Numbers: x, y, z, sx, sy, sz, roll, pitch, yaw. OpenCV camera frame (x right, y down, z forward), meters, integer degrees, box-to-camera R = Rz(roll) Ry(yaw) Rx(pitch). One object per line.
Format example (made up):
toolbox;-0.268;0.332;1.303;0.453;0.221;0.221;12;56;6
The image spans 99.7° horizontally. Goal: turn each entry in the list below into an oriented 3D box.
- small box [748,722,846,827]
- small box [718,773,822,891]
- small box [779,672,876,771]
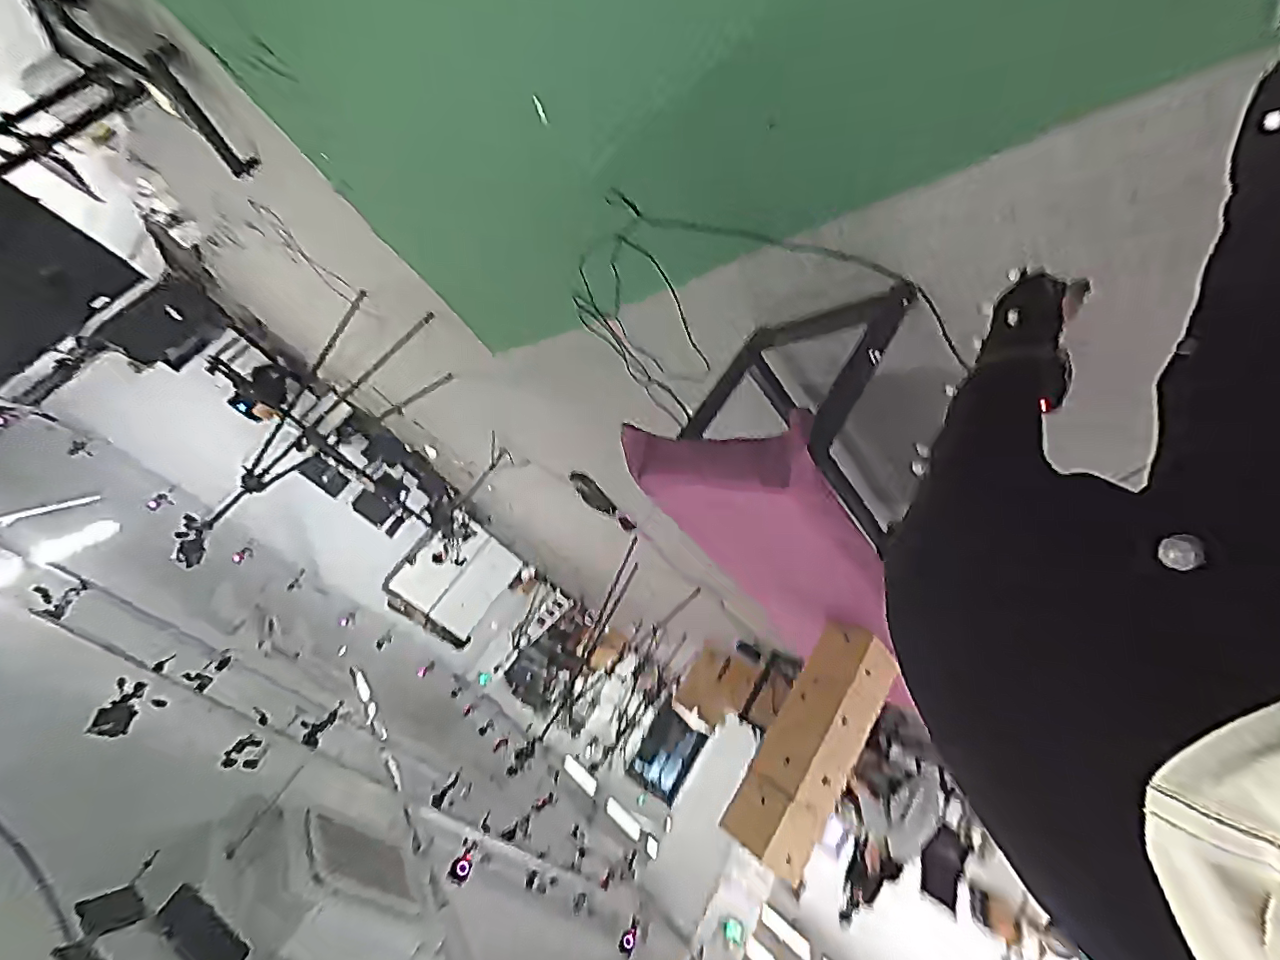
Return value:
small box;0.440;0.799;1.487;0.168;0.176;0.179;48;157;-24
small box;0.346;0.920;1.425;0.179;0.176;0.168;48;158;-23
small box;0.537;0.678;1.538;0.179;0.176;0.168;47;158;-25
